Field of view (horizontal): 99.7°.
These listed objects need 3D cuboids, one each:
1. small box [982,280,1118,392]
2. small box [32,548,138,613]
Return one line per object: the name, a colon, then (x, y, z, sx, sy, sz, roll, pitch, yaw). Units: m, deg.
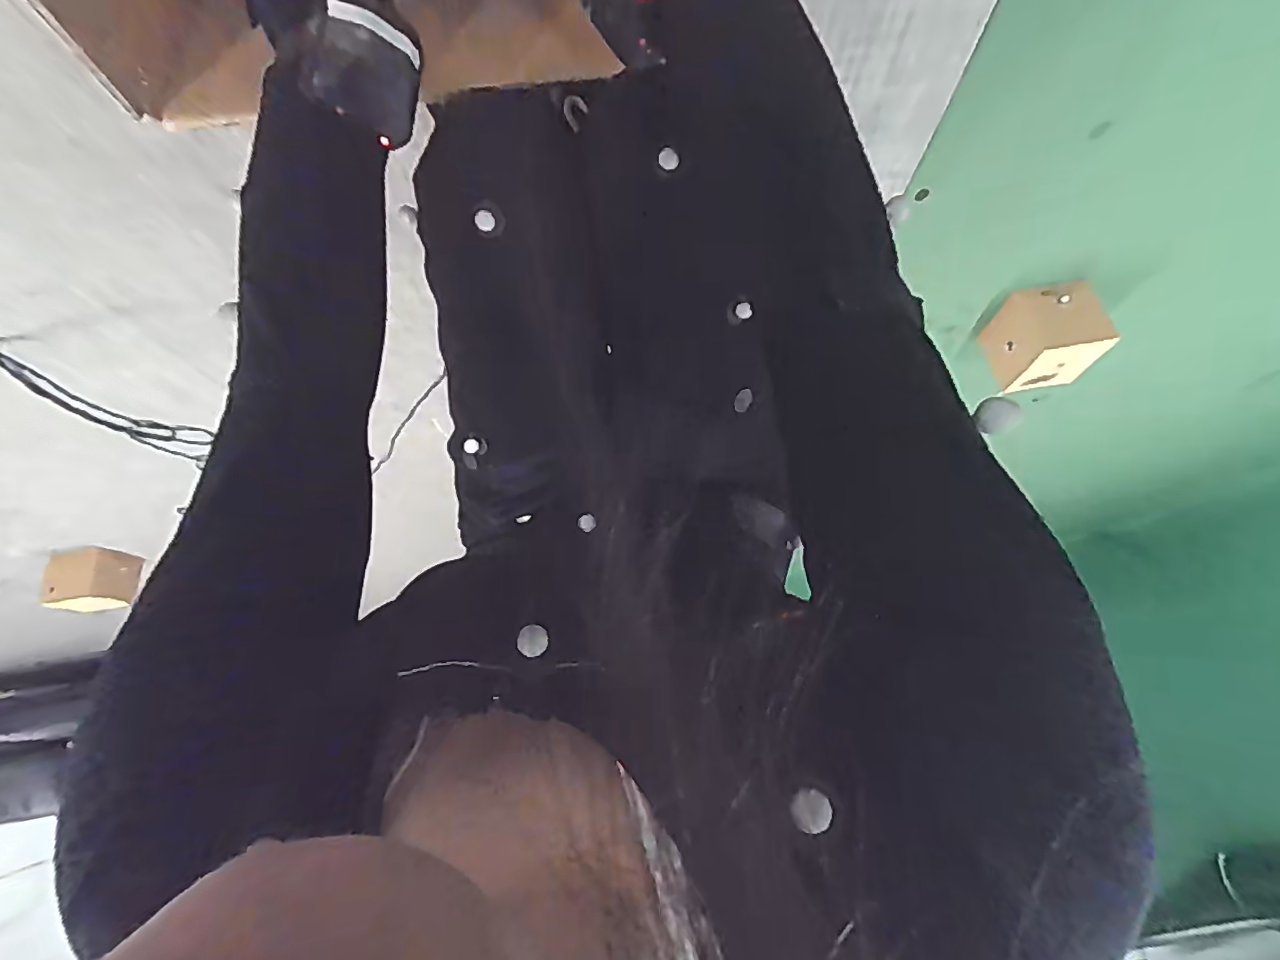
small box: (0.928, -0.330, 1.248, 0.168, 0.176, 0.179, -10, 157, 2)
small box: (-1.851, 0.338, 1.815, 0.179, 0.176, 0.168, -9, 159, 1)
